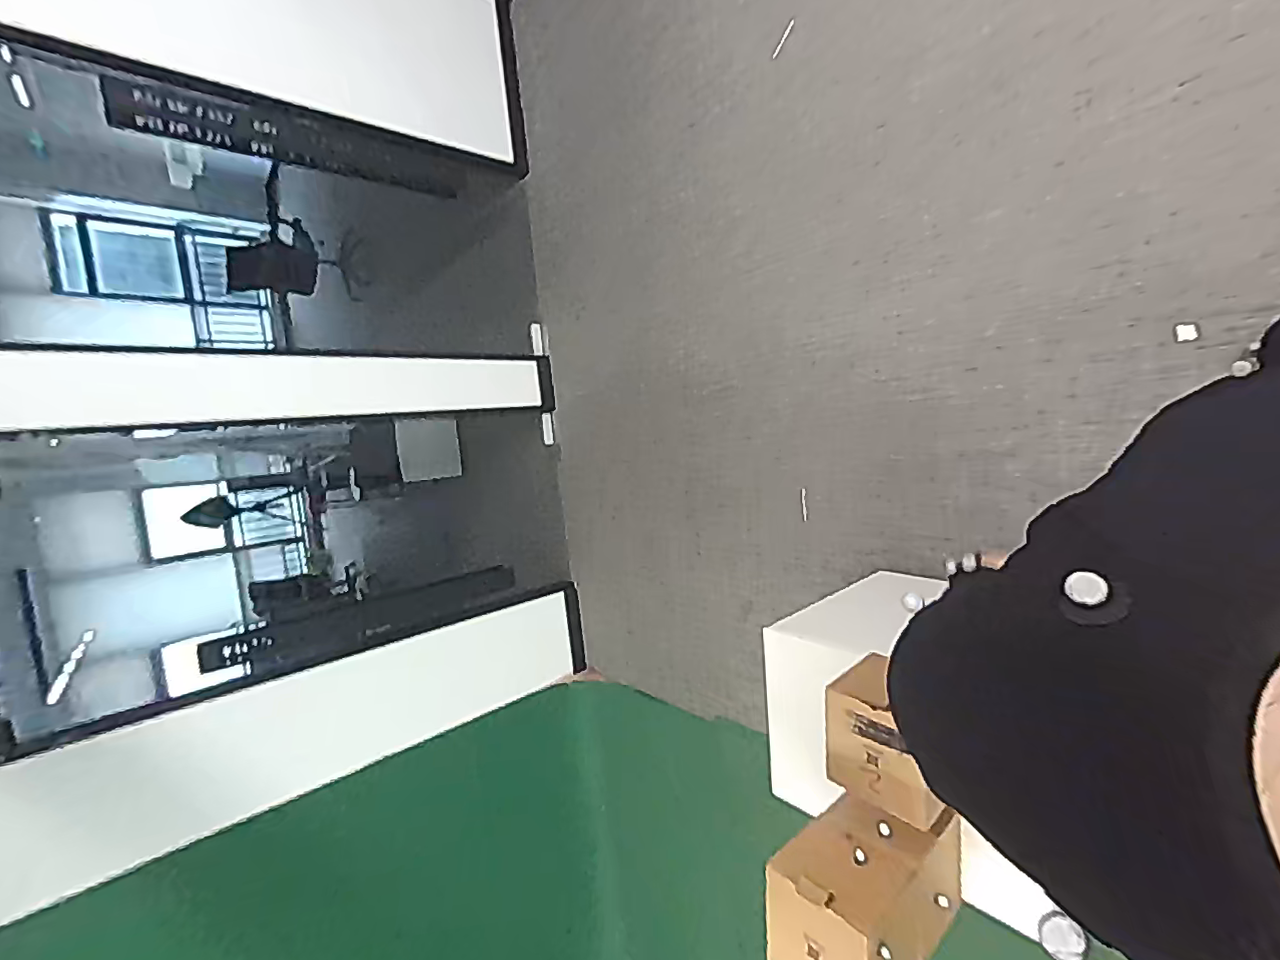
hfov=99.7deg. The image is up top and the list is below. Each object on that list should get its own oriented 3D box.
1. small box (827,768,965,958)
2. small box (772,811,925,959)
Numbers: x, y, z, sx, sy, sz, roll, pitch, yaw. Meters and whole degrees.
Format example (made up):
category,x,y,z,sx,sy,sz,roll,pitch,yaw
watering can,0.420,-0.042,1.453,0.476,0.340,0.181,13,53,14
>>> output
category,x,y,z,sx,sy,sz,roll,pitch,yaw
small box,0.449,0.649,0.944,0.168,0.176,0.179,1,98,49
small box,0.324,0.669,0.840,0.168,0.176,0.179,4,98,49
